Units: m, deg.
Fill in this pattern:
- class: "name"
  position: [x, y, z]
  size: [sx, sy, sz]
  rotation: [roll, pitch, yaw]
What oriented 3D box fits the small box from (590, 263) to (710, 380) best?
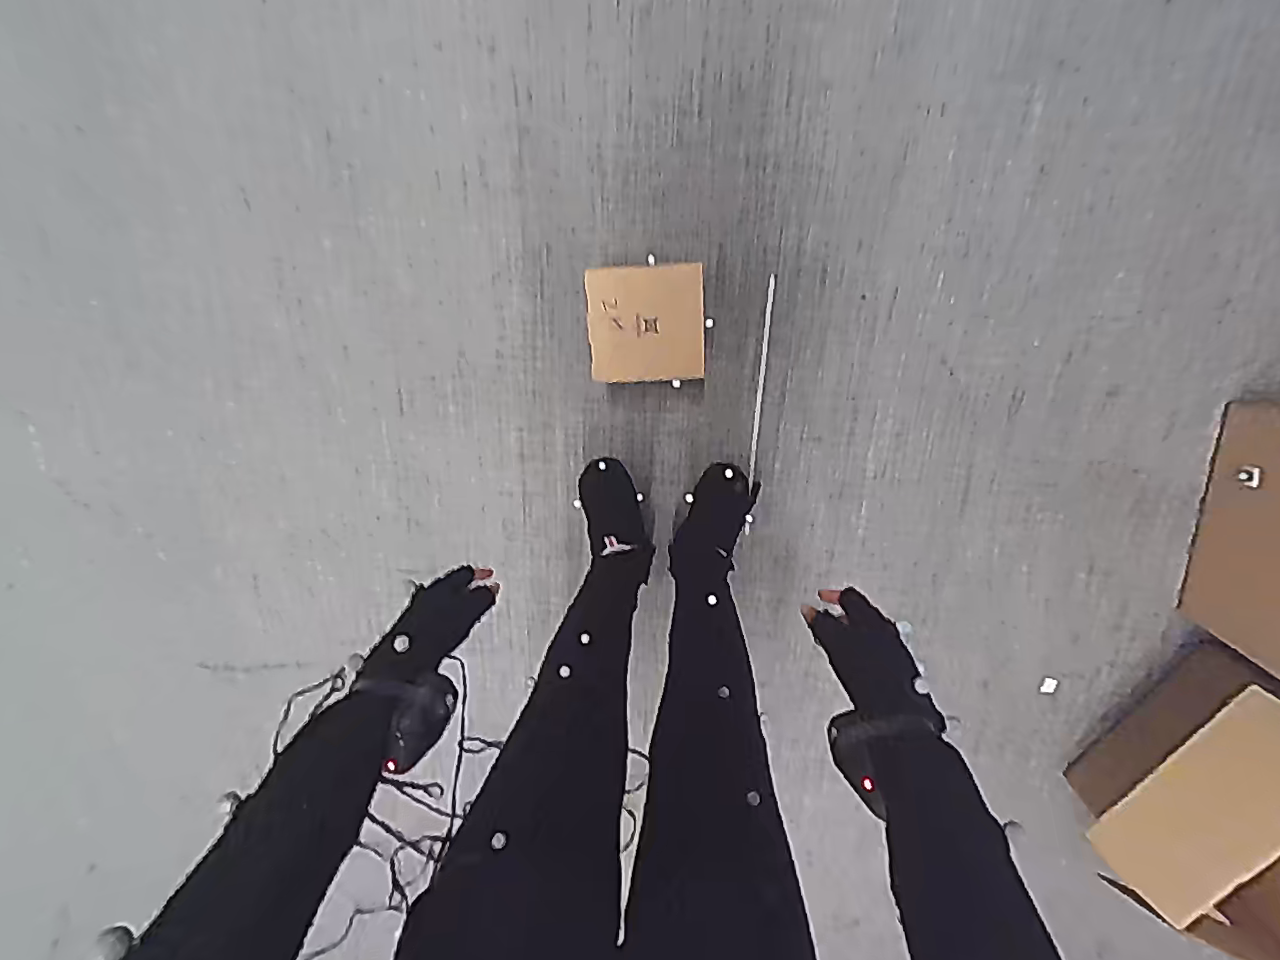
- class: "small box"
  position: [0.023, -0.257, 0.876]
  size: [0.179, 0.176, 0.168]
  rotation: [-1, 108, 7]
